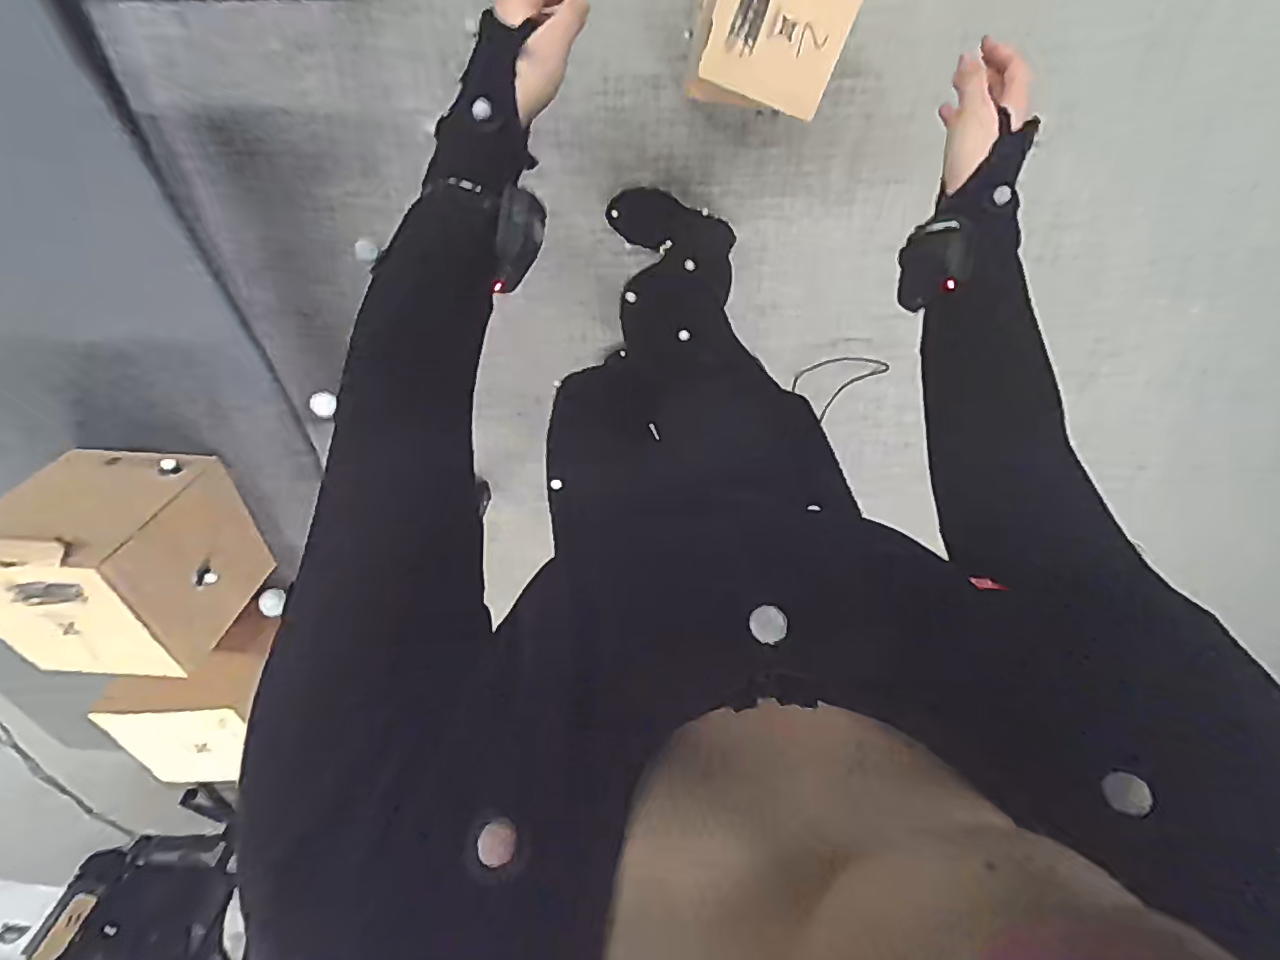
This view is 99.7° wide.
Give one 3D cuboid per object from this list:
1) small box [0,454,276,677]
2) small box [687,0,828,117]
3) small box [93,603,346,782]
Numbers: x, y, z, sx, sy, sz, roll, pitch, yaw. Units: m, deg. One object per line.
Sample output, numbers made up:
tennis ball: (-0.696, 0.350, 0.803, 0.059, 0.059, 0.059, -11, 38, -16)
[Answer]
small box: (-0.546, 0.088, 0.586, 0.168, 0.176, 0.179, 3, 128, 0)
small box: (0.181, -0.715, 0.888, 0.179, 0.176, 0.168, 7, 127, -4)
small box: (-0.542, 0.280, 0.730, 0.179, 0.176, 0.168, -1, 127, 2)
